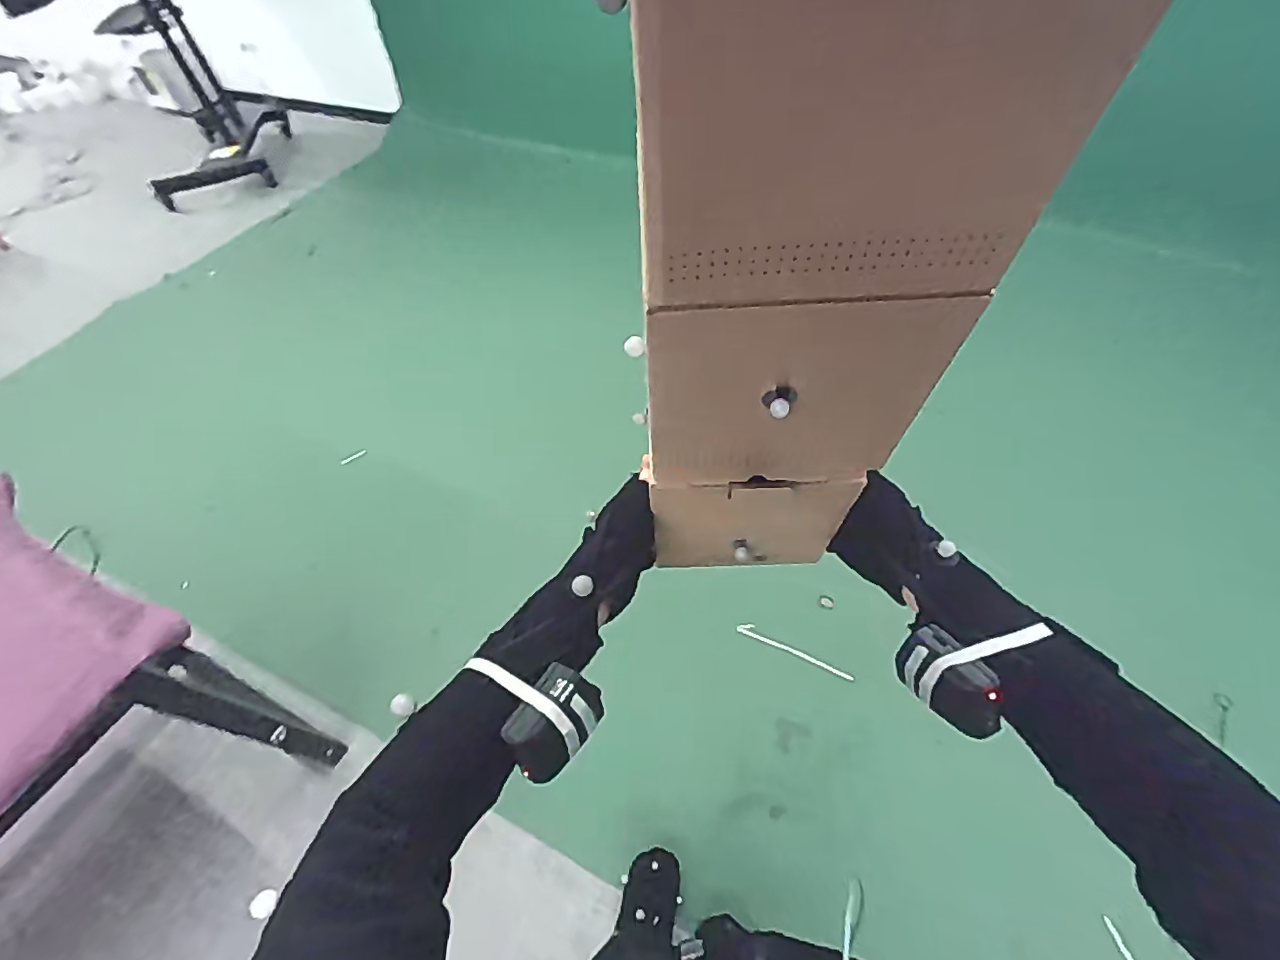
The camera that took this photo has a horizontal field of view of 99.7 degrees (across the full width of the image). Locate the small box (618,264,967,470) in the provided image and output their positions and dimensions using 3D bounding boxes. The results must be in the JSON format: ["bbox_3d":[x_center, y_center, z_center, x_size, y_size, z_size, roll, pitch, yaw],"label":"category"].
[{"bbox_3d":[0.080,-0.118,0.377,0.179,0.176,0.168,0,58,3],"label":"small box"}]

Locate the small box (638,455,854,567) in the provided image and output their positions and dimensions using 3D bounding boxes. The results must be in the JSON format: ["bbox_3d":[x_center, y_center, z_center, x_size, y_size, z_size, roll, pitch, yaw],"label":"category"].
[{"bbox_3d":[0.083,-0.030,0.519,0.168,0.176,0.179,-3,59,3],"label":"small box"}]
